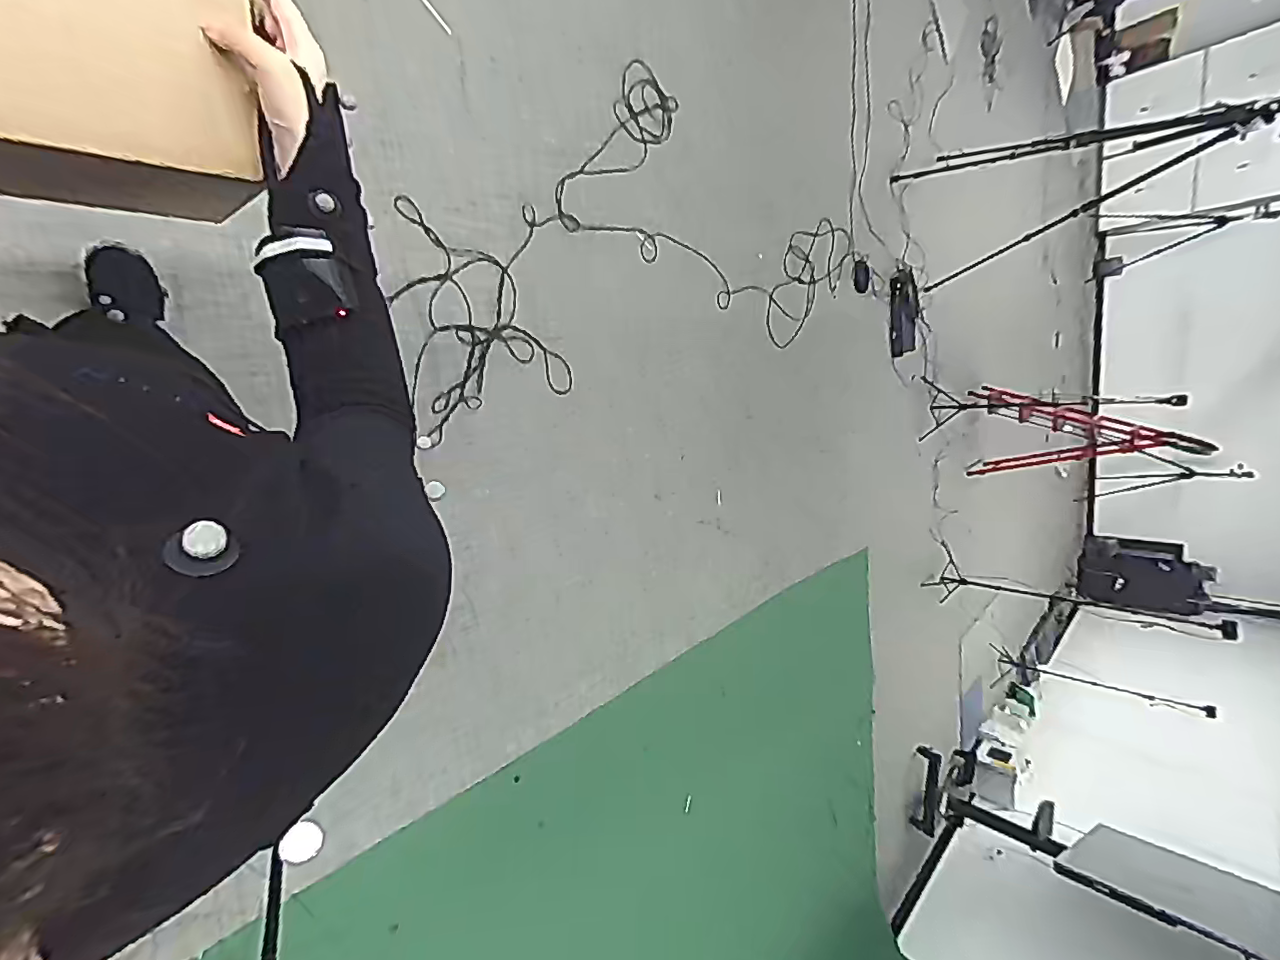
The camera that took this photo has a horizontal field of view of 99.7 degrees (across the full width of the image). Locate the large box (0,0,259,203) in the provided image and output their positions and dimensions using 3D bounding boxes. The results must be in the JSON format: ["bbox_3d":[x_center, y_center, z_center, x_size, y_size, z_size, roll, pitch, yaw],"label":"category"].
[{"bbox_3d":[-0.543,-0.397,0.368,0.408,0.320,0.320,-12,112,-40],"label":"large box"}]
